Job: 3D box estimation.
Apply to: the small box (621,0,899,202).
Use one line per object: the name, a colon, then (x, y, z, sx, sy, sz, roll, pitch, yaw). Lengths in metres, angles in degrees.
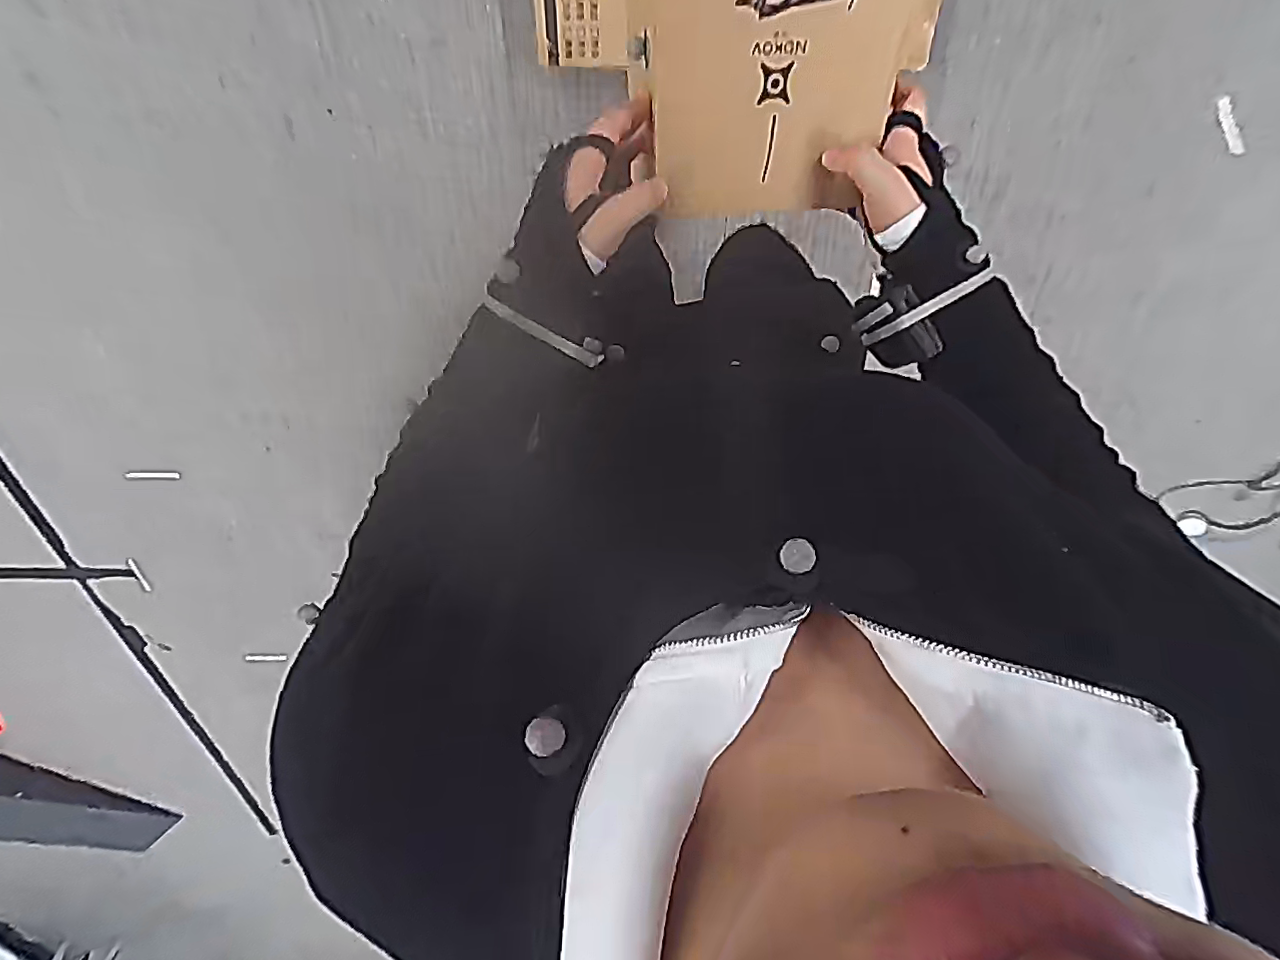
small box: (0.075, -0.329, 0.418, 0.168, 0.176, 0.179, -5, 128, -5)
